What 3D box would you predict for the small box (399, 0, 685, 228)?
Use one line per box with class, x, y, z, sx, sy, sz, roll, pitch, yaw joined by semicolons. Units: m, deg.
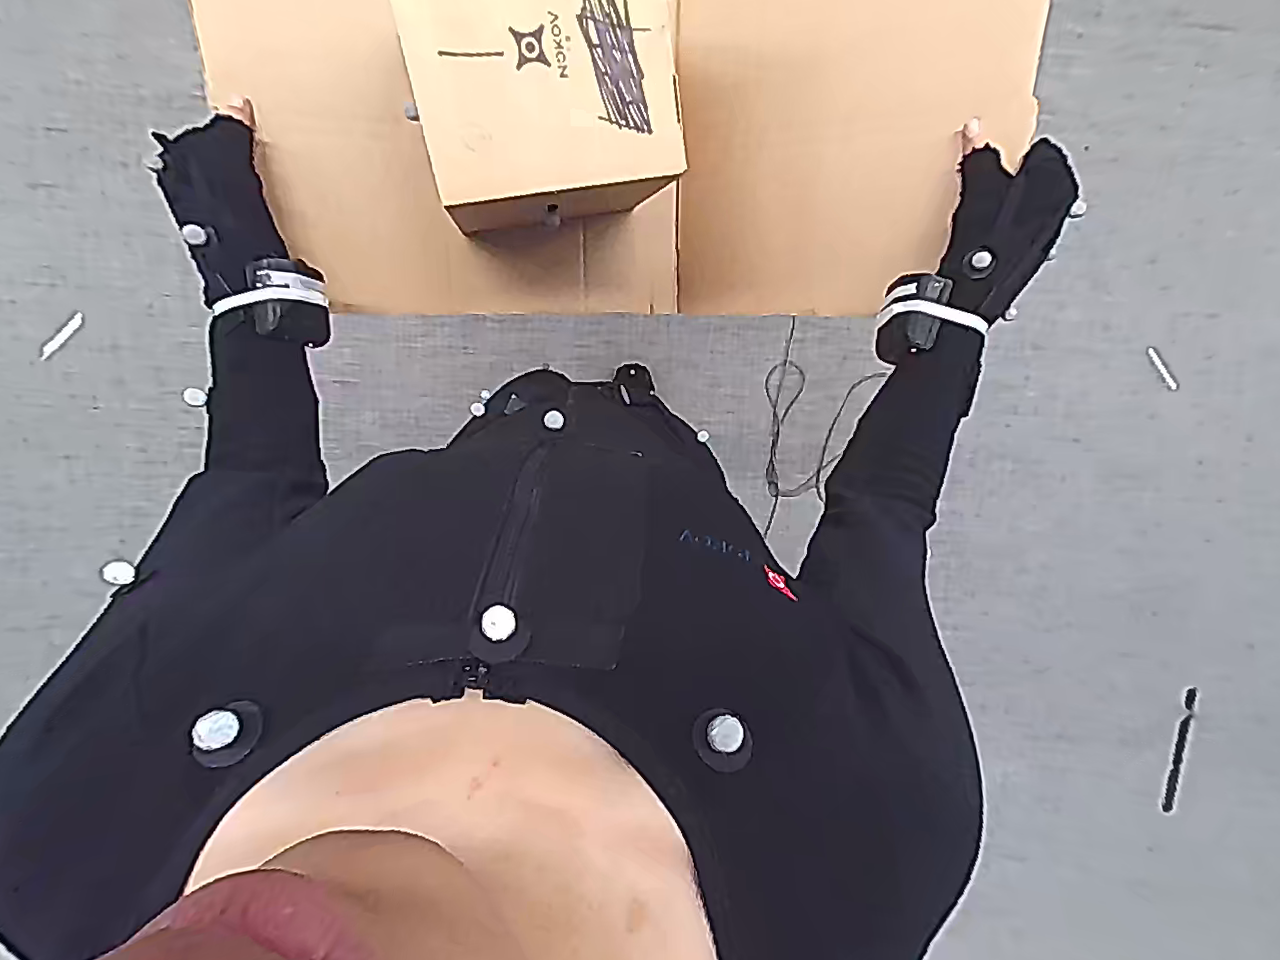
small box;-0.079;-0.308;0.432;0.179;0.176;0.168;-13;111;-9
